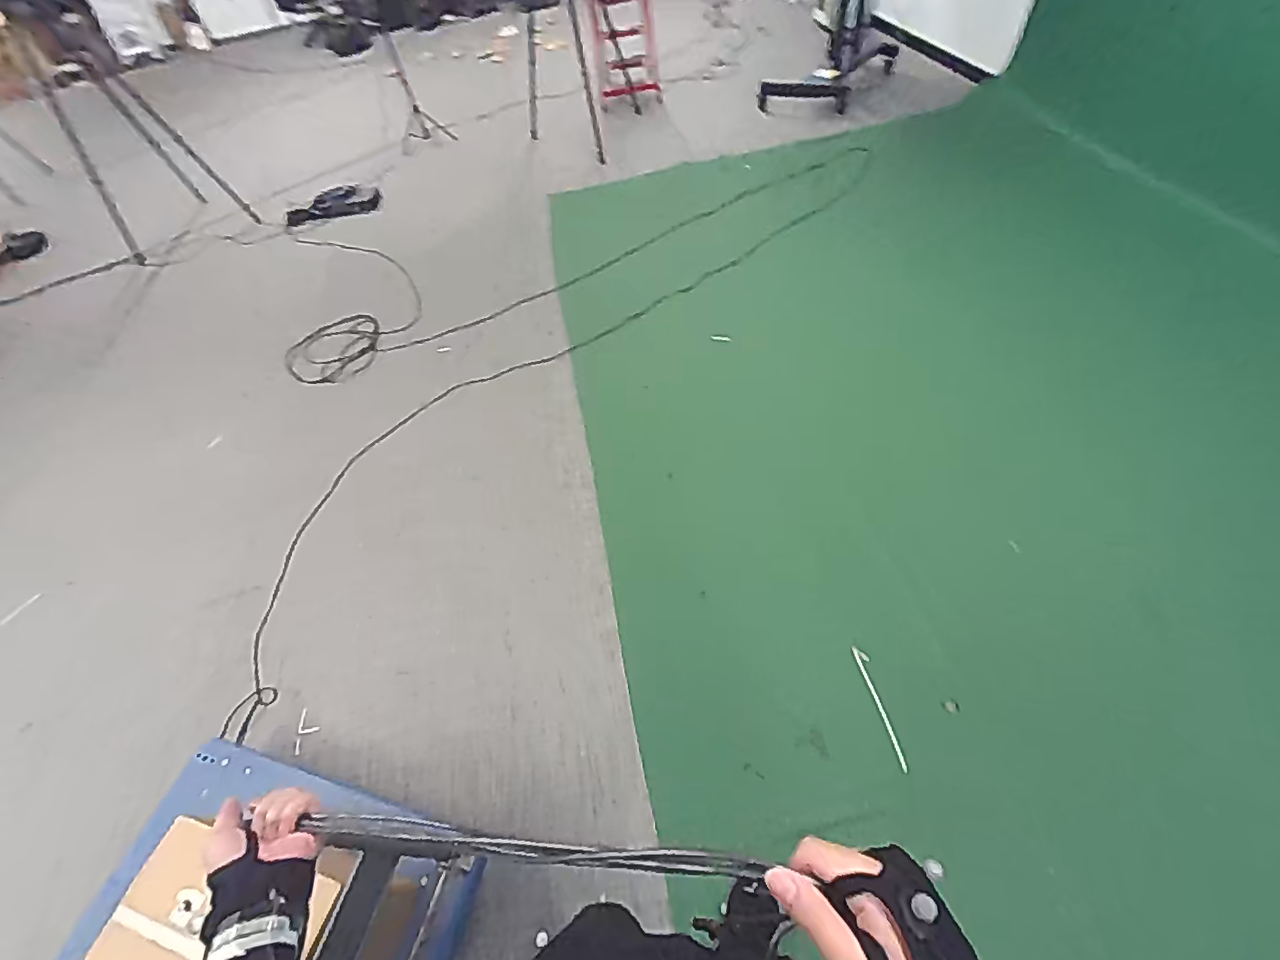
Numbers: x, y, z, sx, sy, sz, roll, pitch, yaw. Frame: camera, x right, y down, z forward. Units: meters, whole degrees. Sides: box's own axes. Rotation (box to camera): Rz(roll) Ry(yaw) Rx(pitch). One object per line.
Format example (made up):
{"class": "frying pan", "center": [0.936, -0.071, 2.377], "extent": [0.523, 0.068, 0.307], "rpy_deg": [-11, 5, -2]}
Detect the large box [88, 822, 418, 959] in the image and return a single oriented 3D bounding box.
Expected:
{"class": "large box", "center": [-0.726, 0.900, 1.033], "extent": [0.408, 0.320, 0.320], "rpy_deg": [8, 54, 17]}
